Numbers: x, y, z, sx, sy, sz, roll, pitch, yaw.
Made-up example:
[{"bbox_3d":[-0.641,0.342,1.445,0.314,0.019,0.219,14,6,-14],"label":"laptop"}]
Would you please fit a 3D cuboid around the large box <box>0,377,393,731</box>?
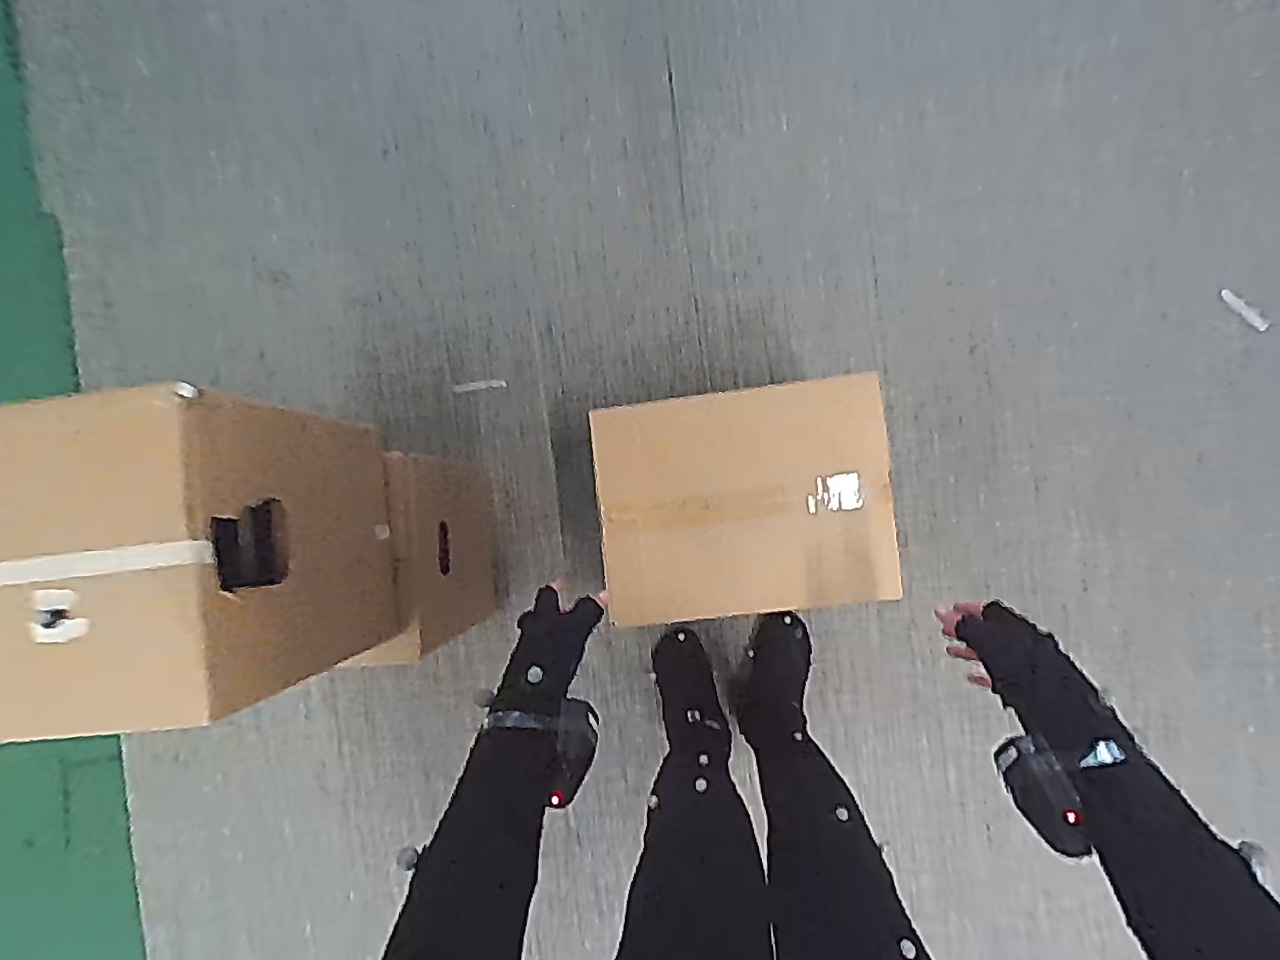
[{"bbox_3d":[-0.574,0.088,0.655,0.408,0.320,0.320,-6,86,4],"label":"large box"}]
